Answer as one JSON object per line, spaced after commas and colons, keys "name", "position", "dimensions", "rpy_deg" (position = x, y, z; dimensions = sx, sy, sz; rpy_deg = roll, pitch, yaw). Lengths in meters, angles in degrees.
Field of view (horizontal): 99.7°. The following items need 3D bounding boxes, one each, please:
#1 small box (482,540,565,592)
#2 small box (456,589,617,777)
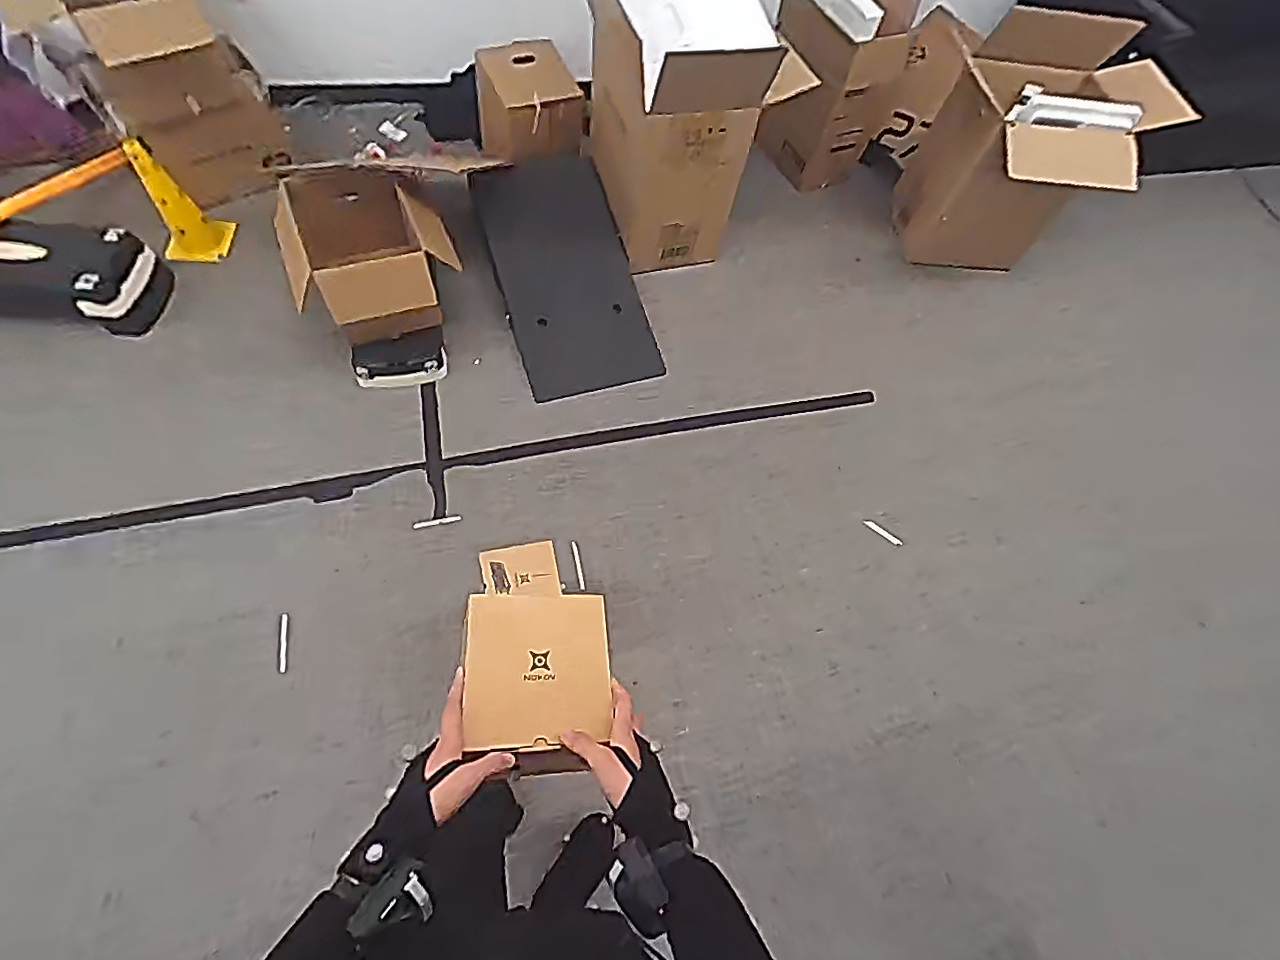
{"name": "small box", "position": [-0.279, 0.264, 1.318], "dimensions": [0.179, 0.176, 0.168], "rpy_deg": [-9, 65, -13]}
{"name": "small box", "position": [-0.134, 0.252, 0.670], "dimensions": [0.168, 0.176, 0.179], "rpy_deg": [4, 53, -17]}
